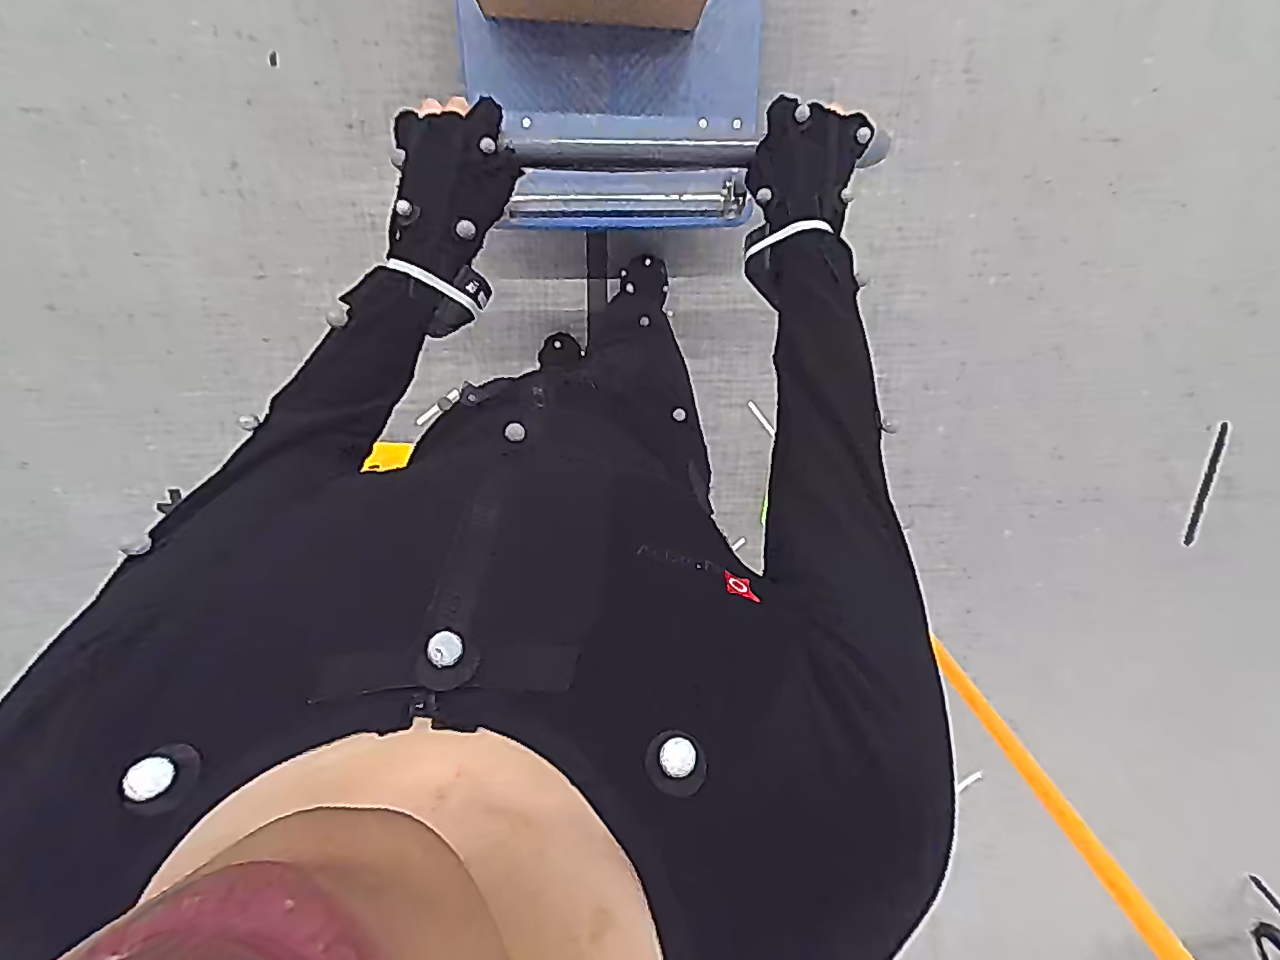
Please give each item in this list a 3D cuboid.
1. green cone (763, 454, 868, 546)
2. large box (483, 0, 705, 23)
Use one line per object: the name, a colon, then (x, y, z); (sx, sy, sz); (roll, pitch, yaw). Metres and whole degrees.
green cone: (0.474, 0.078, 1.385); (0.202, 0.368, 0.200); (2, 108, -6)
large box: (-0.078, -0.968, 0.842); (0.408, 0.320, 0.320); (0, 109, -4)
